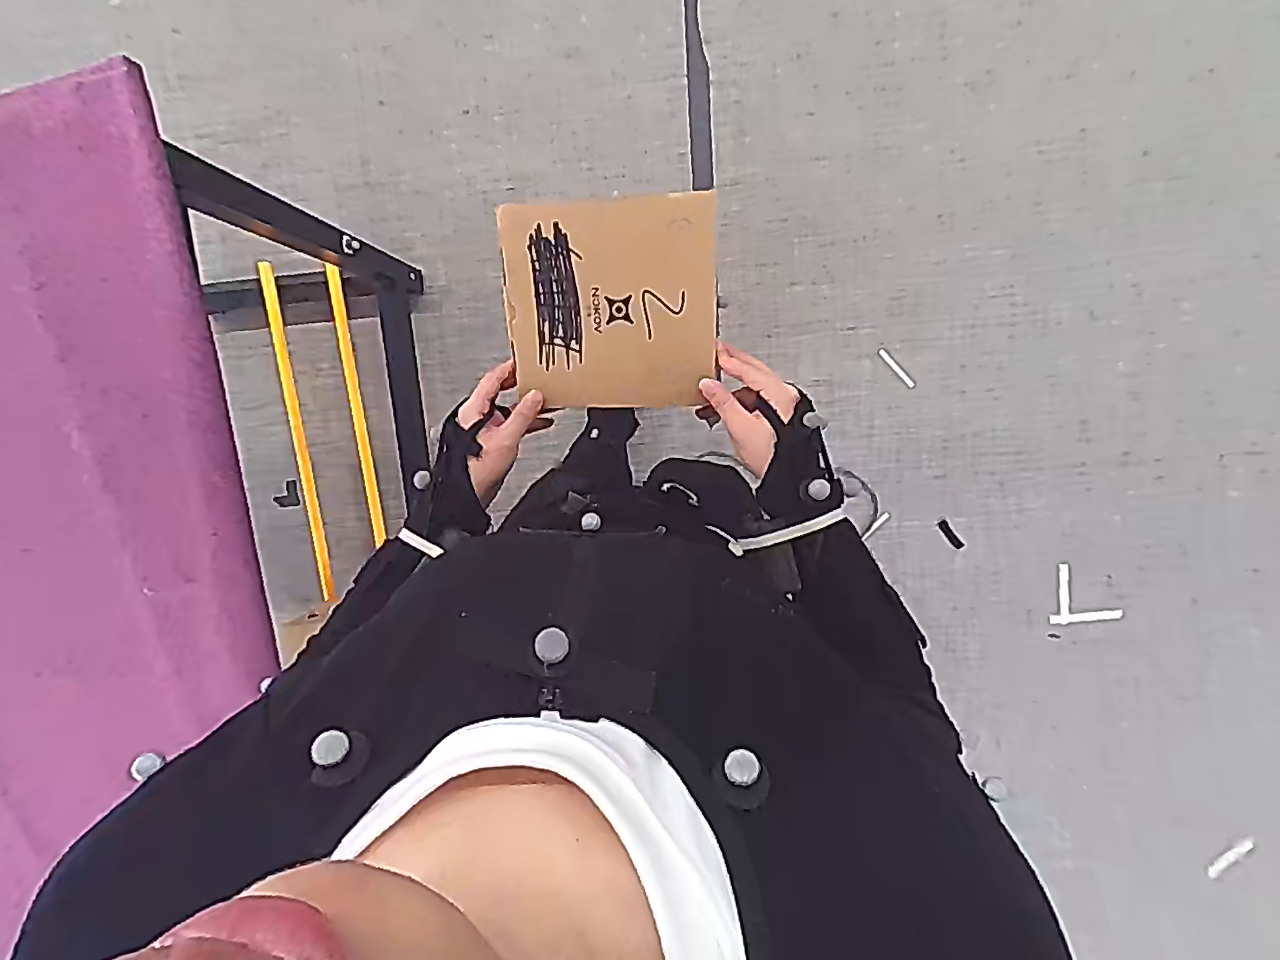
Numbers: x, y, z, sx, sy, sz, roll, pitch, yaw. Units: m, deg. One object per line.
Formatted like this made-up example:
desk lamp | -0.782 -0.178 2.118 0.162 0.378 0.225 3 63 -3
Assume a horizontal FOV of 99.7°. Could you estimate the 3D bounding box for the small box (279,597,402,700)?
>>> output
small box | -0.686 0.384 1.256 0.179 0.176 0.168 -8 98 2
